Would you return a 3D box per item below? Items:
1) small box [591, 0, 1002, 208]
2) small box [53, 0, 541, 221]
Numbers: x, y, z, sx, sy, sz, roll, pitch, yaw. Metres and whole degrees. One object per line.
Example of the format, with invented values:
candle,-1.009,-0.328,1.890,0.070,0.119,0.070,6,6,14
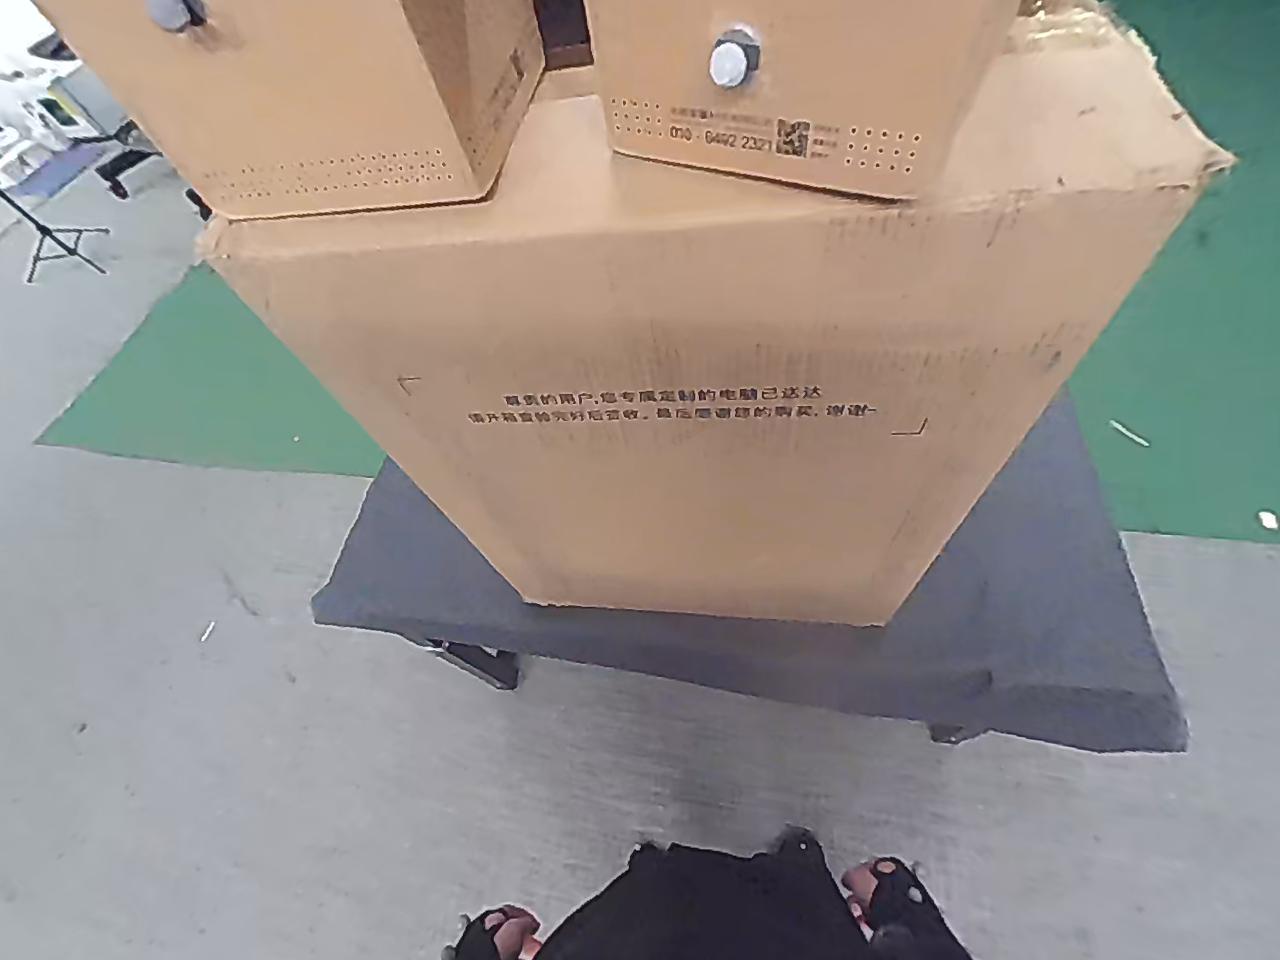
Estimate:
small box,0.080,-0.259,0.241,0.168,0.176,0.179,23,66,22
small box,-0.175,-0.264,0.291,0.179,0.176,0.168,0,60,12
